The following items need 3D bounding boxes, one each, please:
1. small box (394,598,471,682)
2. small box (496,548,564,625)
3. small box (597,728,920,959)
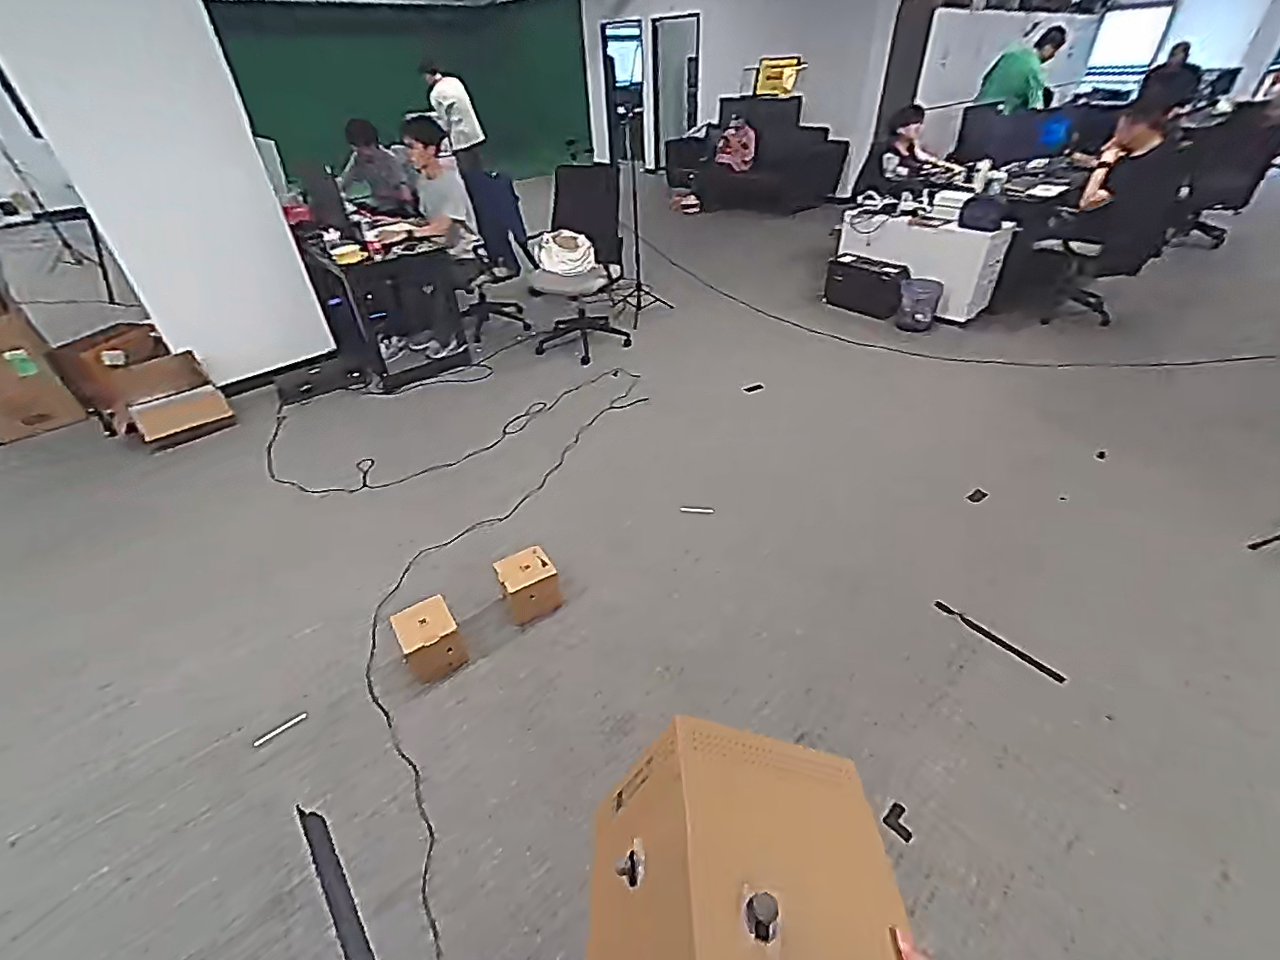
[{"bbox_3d":[-0.663,0.522,1.741,0.168,0.176,0.179,-24,42,-26],"label":"small box"},{"bbox_3d":[-0.385,0.377,1.906,0.179,0.176,0.168,-22,42,-23],"label":"small box"},{"bbox_3d":[0.072,0.319,0.415,0.179,0.168,0.176,21,32,-15],"label":"small box"}]
